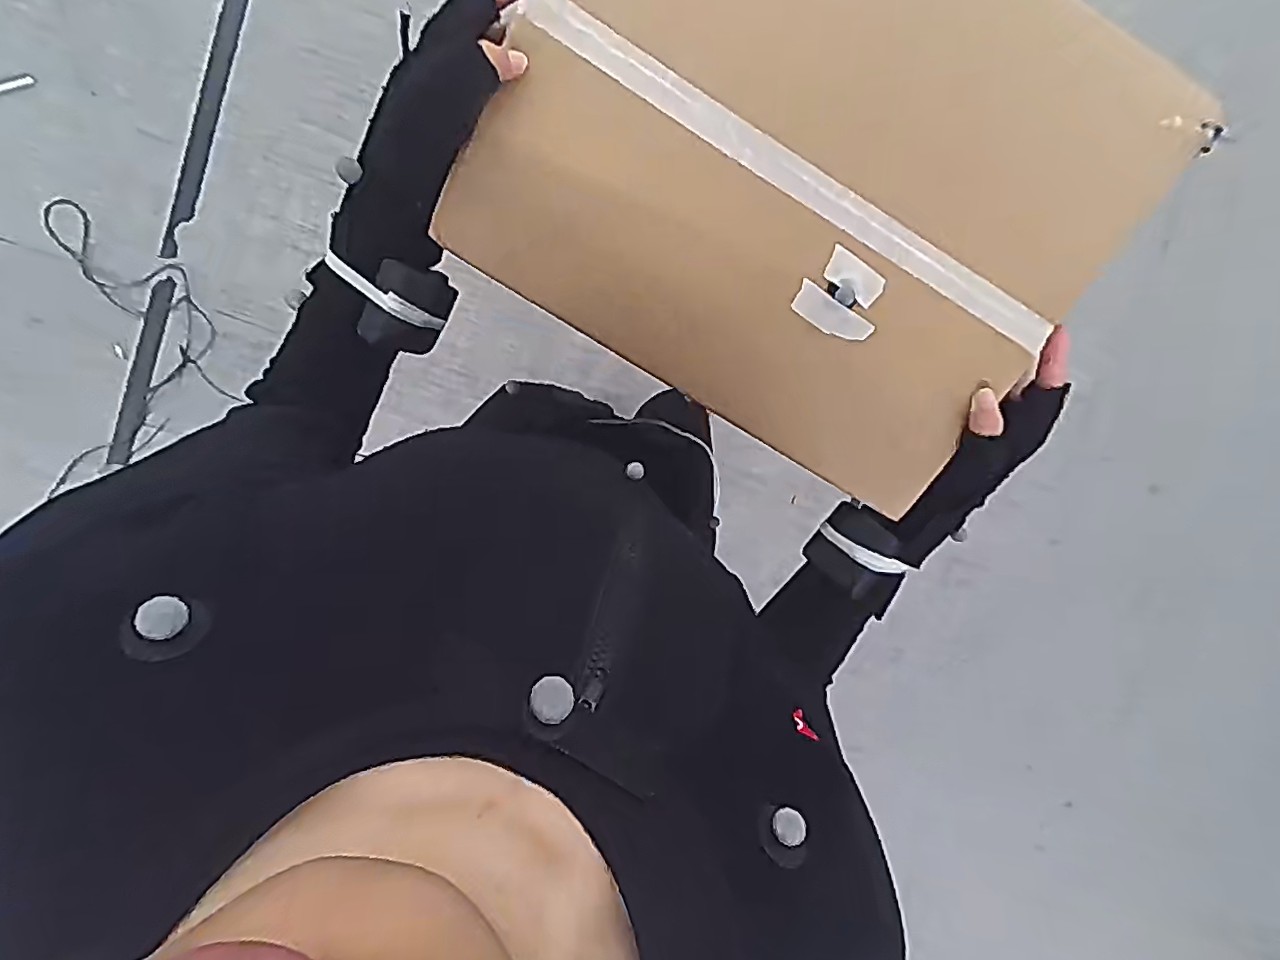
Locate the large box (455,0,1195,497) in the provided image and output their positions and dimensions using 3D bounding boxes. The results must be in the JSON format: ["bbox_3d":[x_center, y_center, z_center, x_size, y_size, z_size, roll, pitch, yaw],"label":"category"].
[{"bbox_3d":[0.116,-0.249,0.507,0.408,0.320,0.320,31,108,-7],"label":"large box"}]
